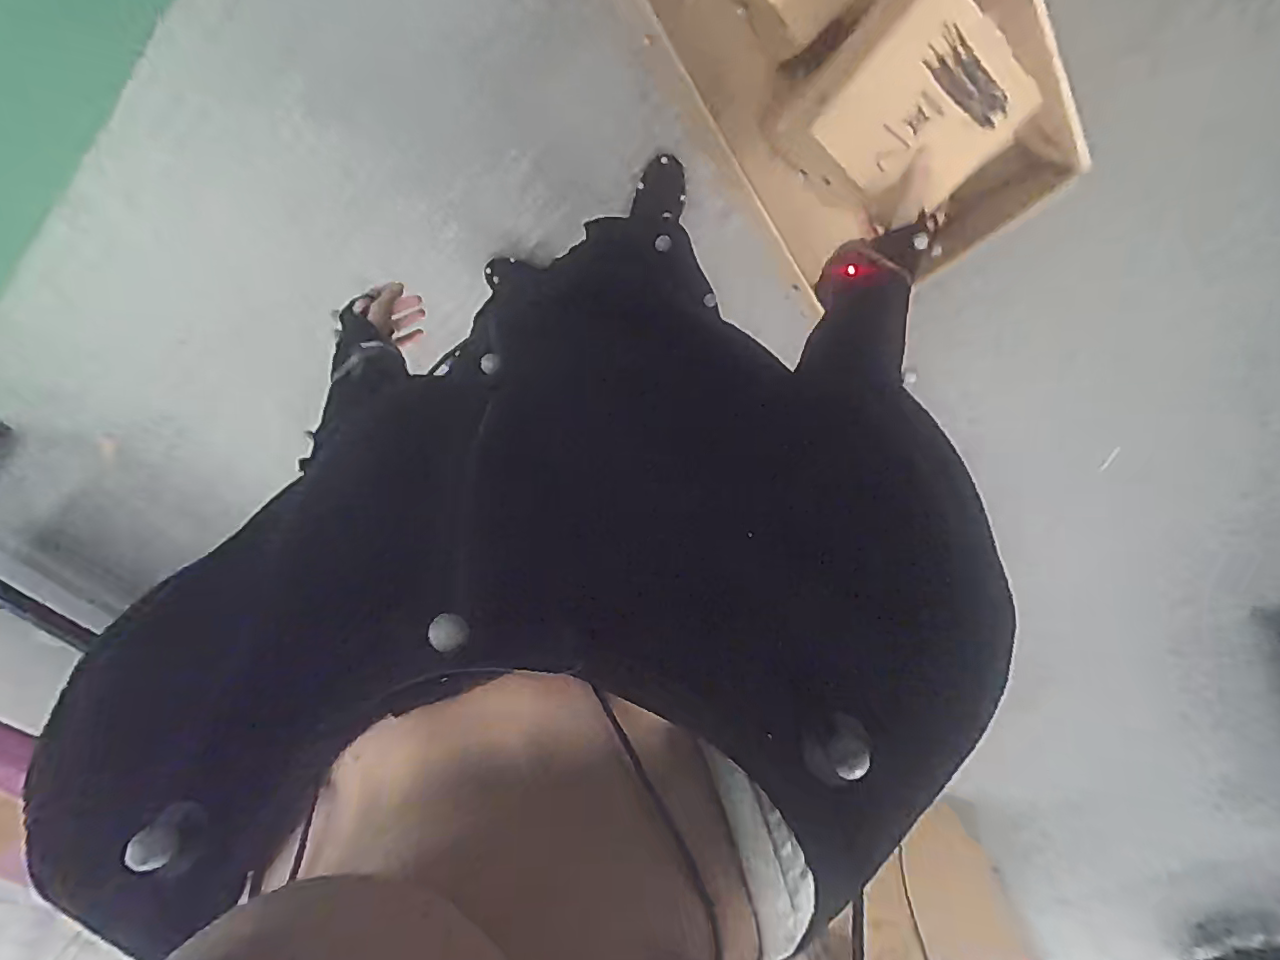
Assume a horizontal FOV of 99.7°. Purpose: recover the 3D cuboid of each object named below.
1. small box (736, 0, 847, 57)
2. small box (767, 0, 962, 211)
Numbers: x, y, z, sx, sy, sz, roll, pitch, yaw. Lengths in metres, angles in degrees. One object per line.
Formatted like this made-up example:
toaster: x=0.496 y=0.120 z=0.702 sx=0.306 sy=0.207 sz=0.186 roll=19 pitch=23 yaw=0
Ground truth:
small box: x=0.208 y=-0.675 z=0.668 sx=0.179 sy=0.176 sz=0.168 roll=-37 pitch=115 yaw=20
small box: x=0.299 y=-0.517 z=0.767 sx=0.168 sy=0.176 sz=0.179 roll=37 pitch=115 yaw=-19
